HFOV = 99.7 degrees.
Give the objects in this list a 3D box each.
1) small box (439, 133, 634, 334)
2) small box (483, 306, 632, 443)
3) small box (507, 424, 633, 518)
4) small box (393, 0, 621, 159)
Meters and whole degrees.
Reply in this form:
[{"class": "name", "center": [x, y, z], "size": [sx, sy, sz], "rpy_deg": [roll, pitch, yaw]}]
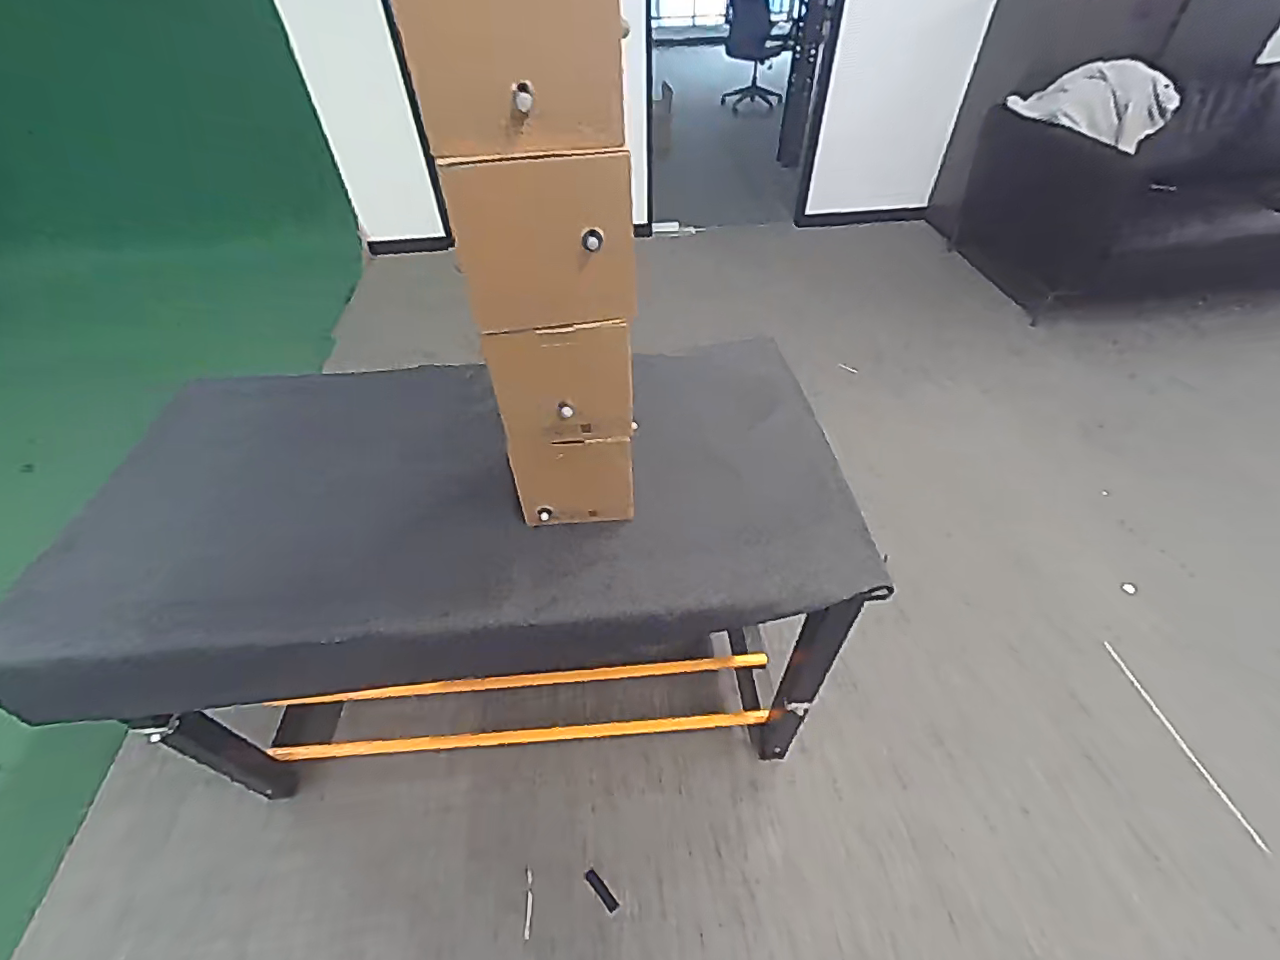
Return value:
[{"class": "small box", "center": [-0.105, -0.280, 0.593], "size": [0.179, 0.176, 0.168], "rpy_deg": [-10, 45, -7]}, {"class": "small box", "center": [-0.100, -0.170, 0.712], "size": [0.168, 0.176, 0.179], "rpy_deg": [-6, 46, -3]}, {"class": "small box", "center": [-0.098, -0.053, 0.828], "size": [0.168, 0.176, 0.179], "rpy_deg": [-4, 45, -2]}, {"class": "small box", "center": [-0.111, -0.407, 0.488], "size": [0.179, 0.176, 0.168], "rpy_deg": [-7, 45, -5]}]
